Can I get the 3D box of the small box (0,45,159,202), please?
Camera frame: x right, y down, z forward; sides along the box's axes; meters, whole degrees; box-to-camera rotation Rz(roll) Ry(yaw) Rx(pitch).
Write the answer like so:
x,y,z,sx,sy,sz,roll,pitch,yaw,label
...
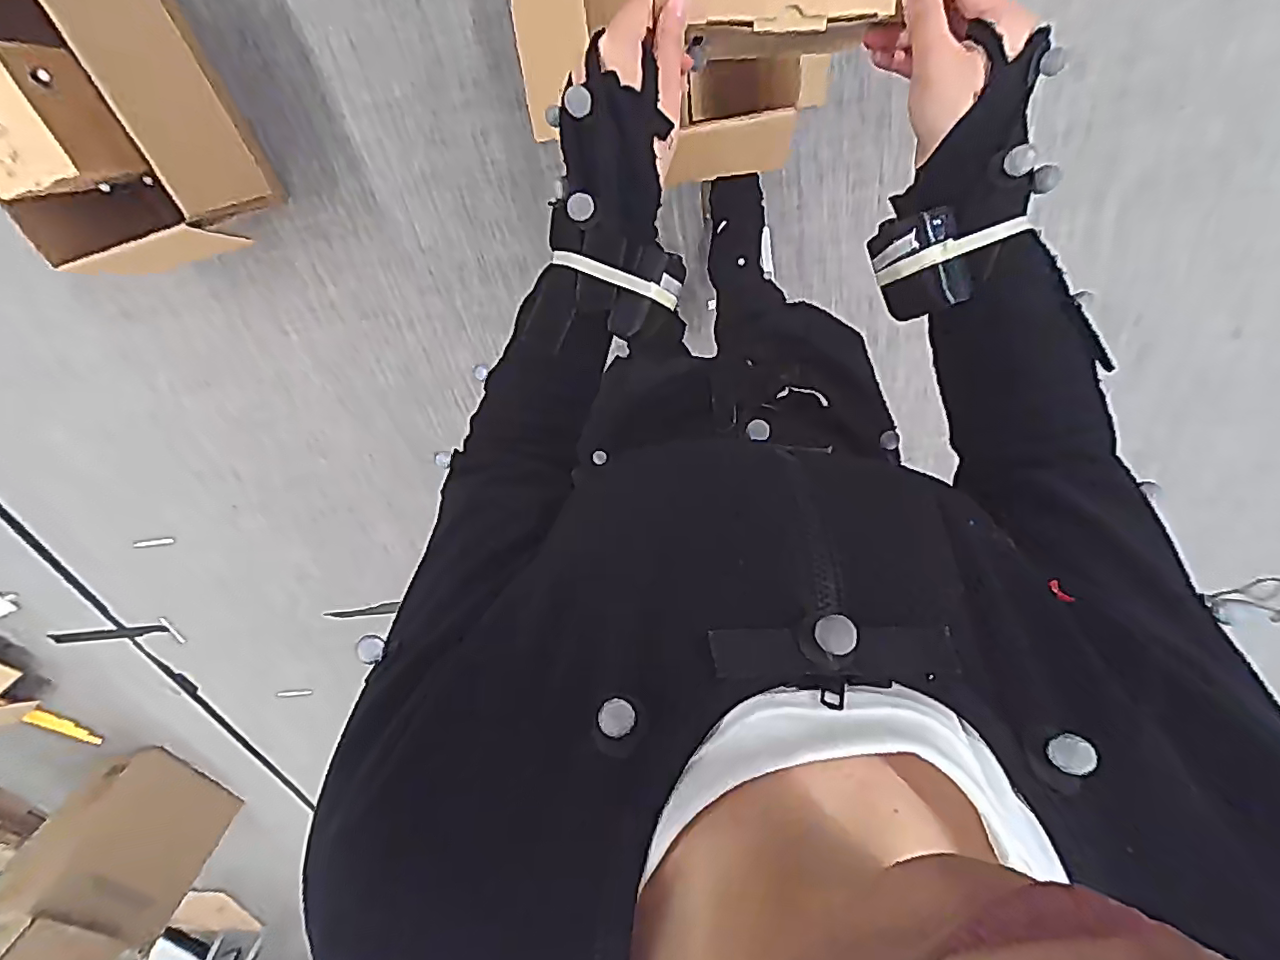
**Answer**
x,y,z,sx,sy,sz,roll,pitch,yaw,label
-0.982,-0.583,0.898,0.168,0.176,0.179,-10,123,11,small box
